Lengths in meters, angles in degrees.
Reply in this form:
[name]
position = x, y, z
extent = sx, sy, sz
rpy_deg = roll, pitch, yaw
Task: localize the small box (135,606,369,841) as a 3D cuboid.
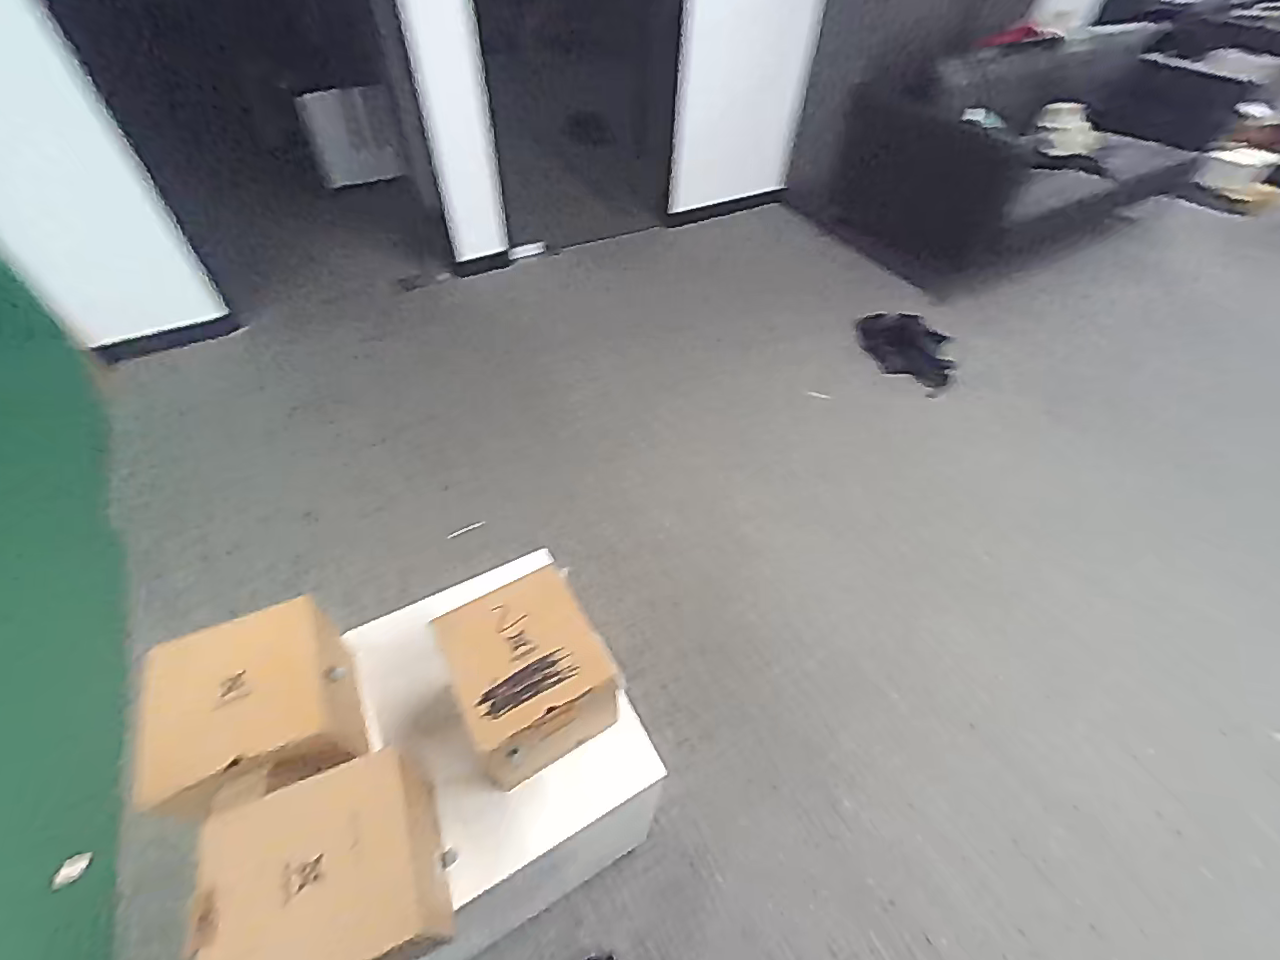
[small box]
position = -0.442, 0.286, 0.640
extent = 0.168, 0.176, 0.179
rpy_deg = -19, 54, -20
